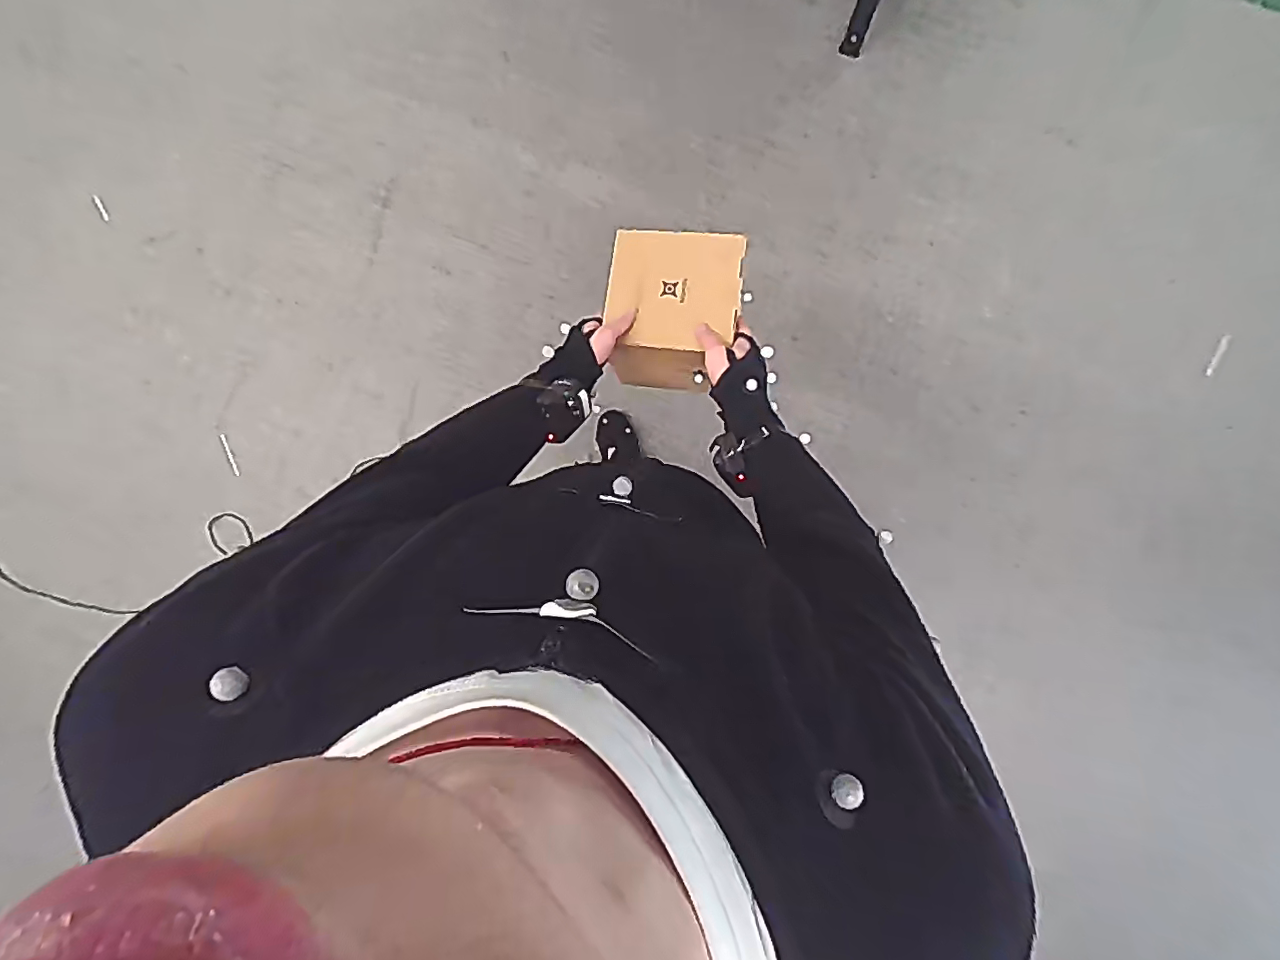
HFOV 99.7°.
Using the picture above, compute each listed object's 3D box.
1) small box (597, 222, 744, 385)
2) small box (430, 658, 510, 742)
[{"bbox_3d":[0.051,-0.246,0.786,0.179,0.176,0.168,7,81,11],"label":"small box"},{"bbox_3d":[-0.473,0.613,1.525,0.179,0.176,0.168,1,93,3],"label":"small box"}]
